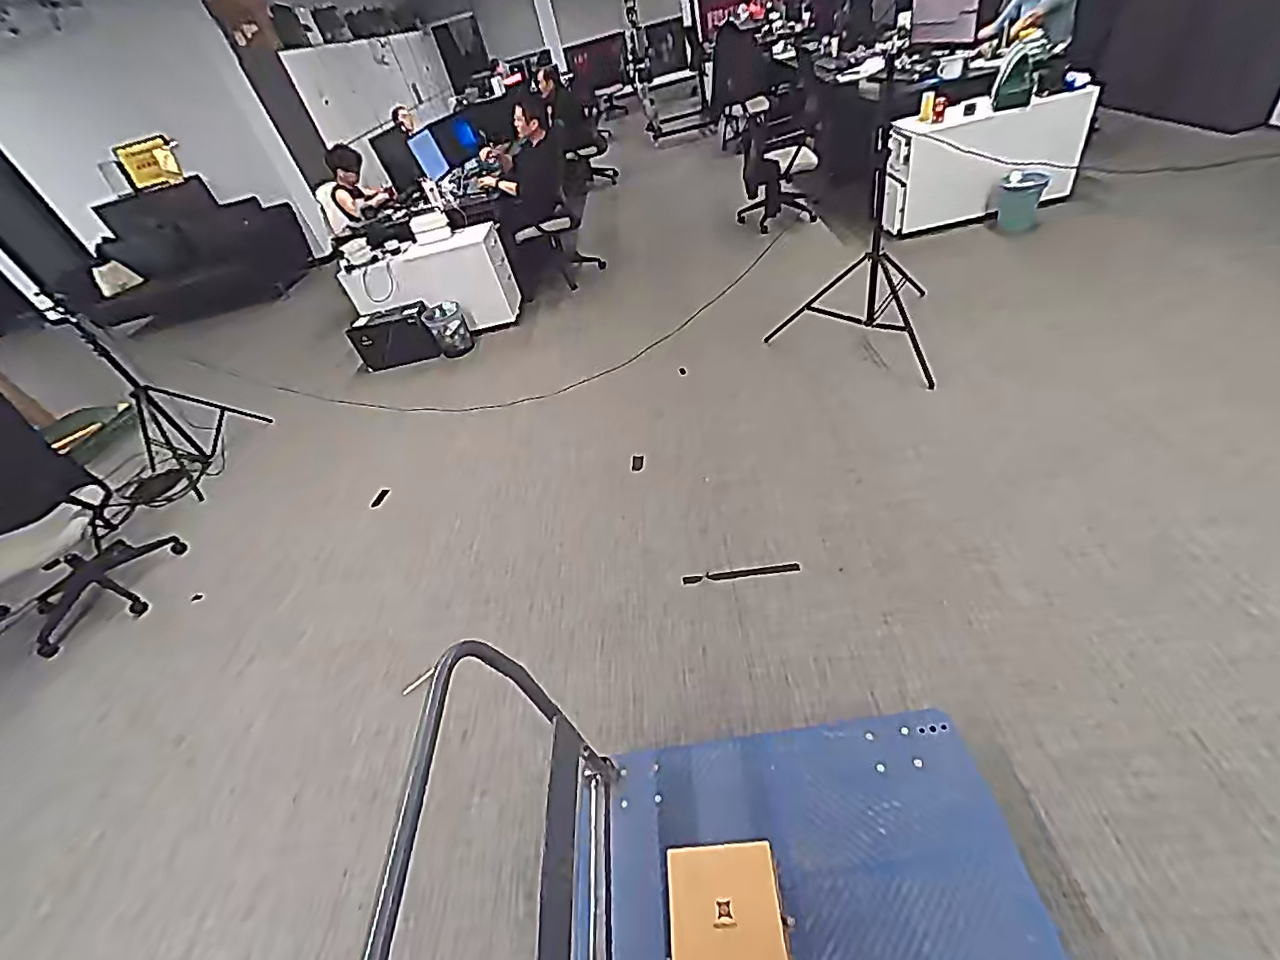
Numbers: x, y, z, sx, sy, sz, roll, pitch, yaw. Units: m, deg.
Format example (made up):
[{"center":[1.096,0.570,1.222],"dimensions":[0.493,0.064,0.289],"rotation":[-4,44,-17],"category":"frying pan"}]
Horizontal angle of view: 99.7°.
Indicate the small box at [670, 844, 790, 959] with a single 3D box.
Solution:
[{"center":[0.142,0.700,0.848],"dimensions":[0.168,0.176,0.179],"rotation":[-10,42,7],"category":"small box"}]
